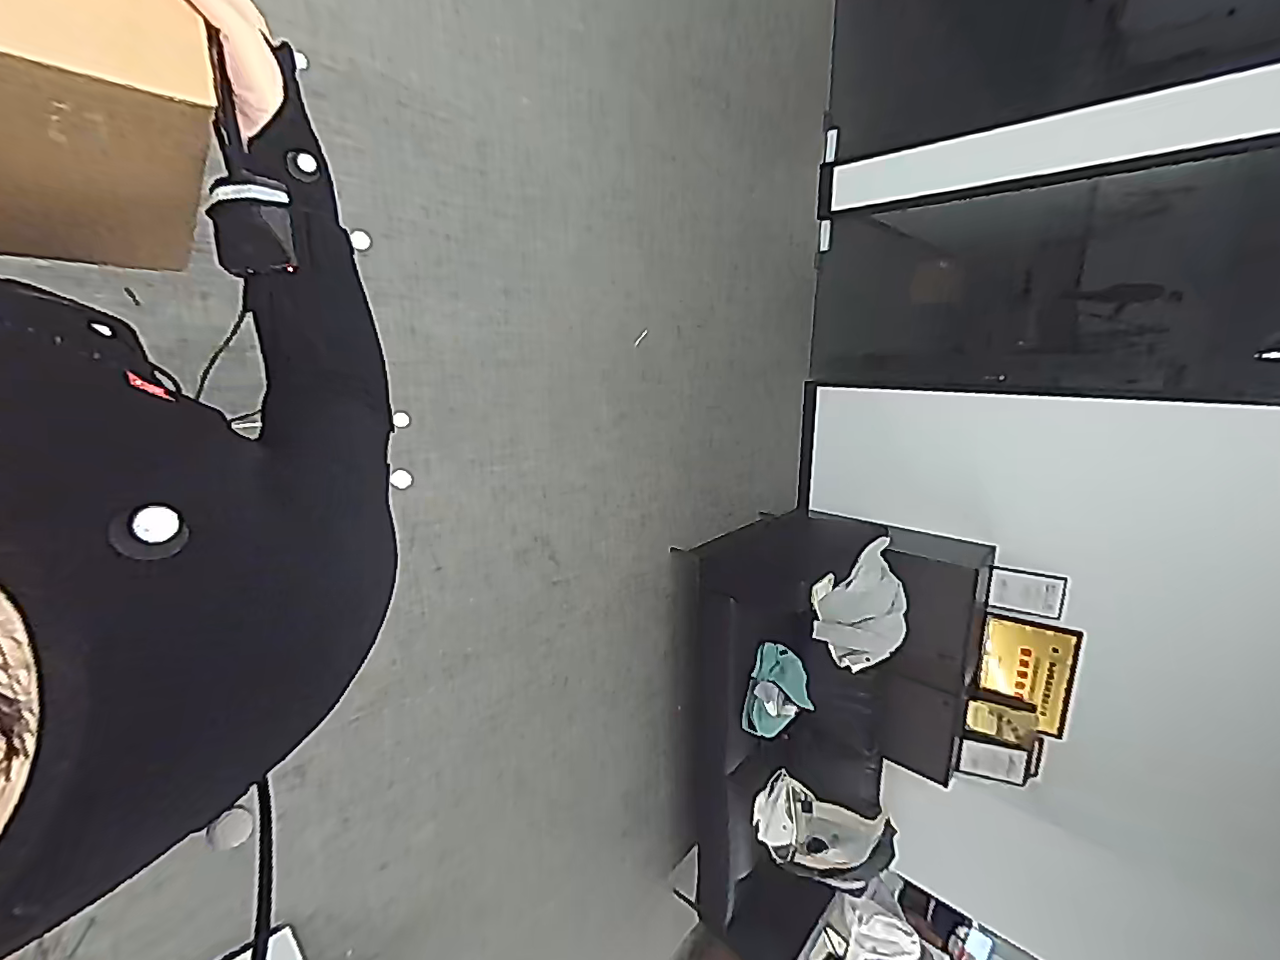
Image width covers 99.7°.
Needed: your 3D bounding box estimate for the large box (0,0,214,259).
[{"bbox_3d":[-0.564,-0.368,0.338,0.408,0.320,0.320,-11,94,-45],"label":"large box"}]
